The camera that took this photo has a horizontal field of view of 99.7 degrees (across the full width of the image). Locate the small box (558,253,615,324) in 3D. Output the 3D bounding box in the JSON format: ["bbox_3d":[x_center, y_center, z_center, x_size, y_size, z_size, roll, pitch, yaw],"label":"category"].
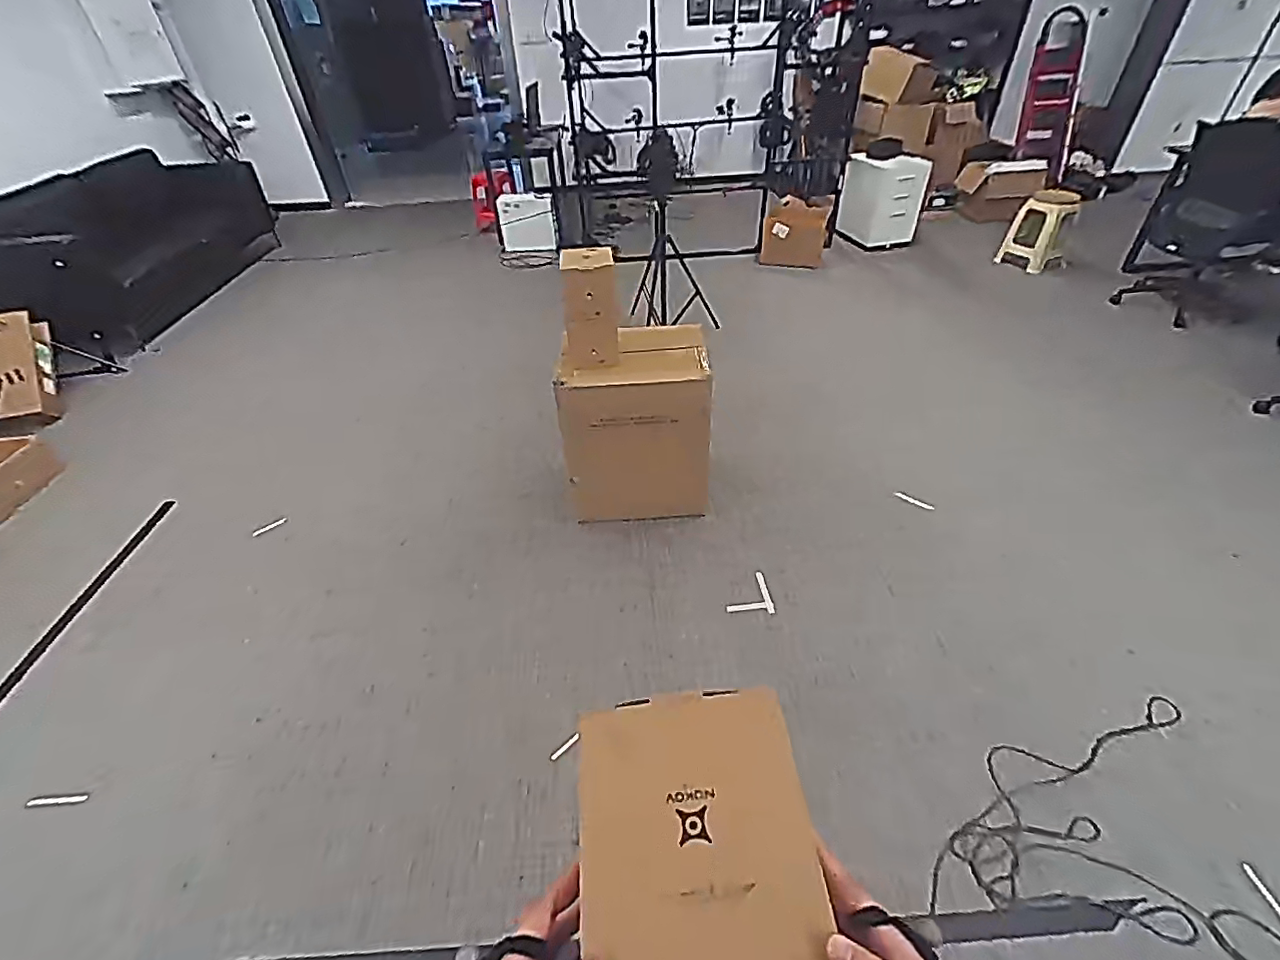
[{"bbox_3d":[-0.171,-0.611,1.738,0.168,0.176,0.179,-5,42,-3],"label":"small box"}]

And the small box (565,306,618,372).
[{"bbox_3d":[-0.163,-0.485,1.844,0.168,0.176,0.179,-4,41,-2],"label":"small box"}]

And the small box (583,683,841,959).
[{"bbox_3d":[0.045,0.293,0.452,0.168,0.176,0.179,-7,49,1],"label":"small box"}]
